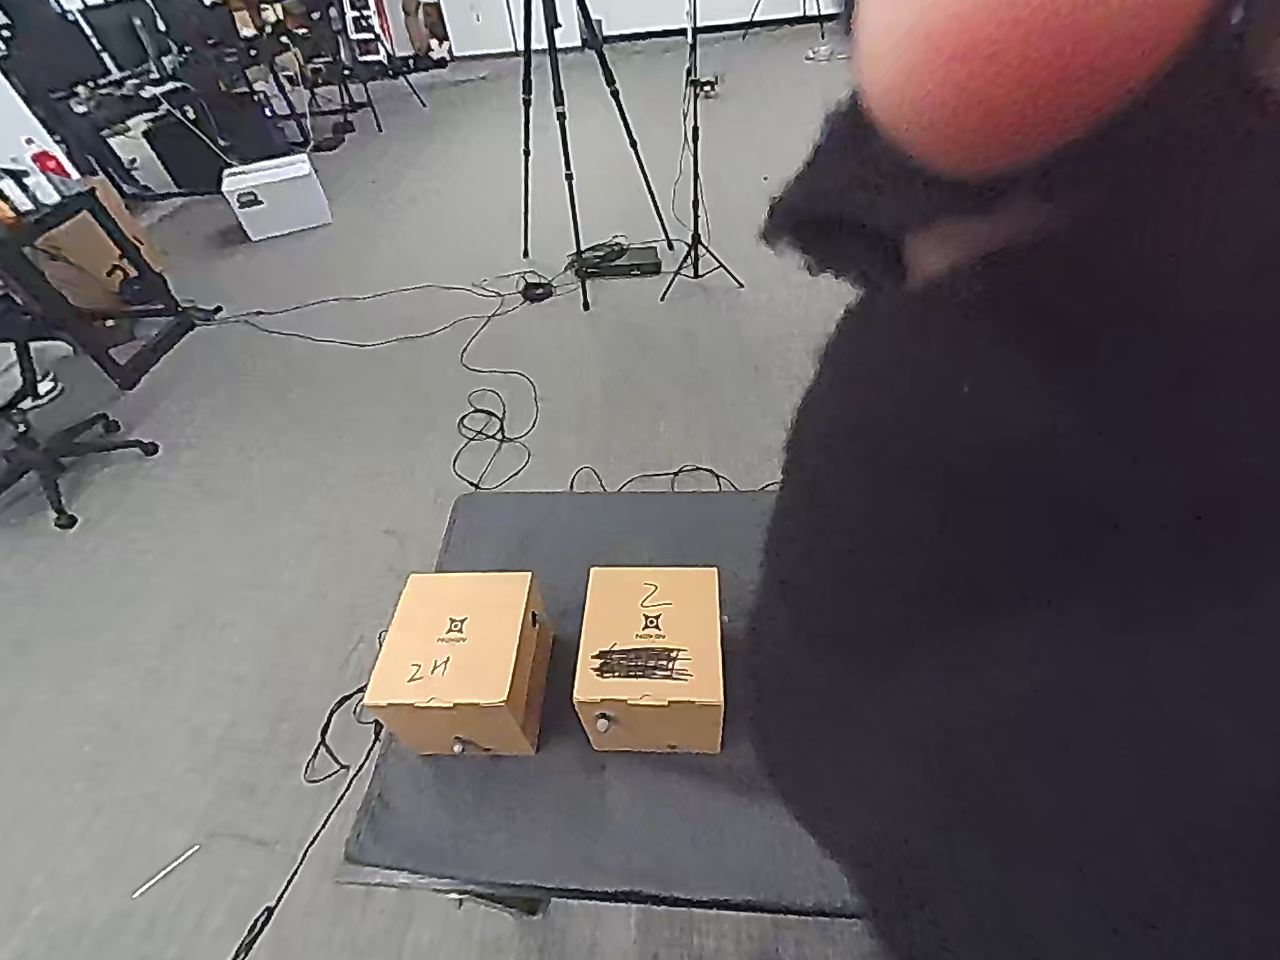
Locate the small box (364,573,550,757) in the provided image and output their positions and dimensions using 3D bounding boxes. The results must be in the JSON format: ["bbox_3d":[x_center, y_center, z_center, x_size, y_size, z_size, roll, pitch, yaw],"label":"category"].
[{"bbox_3d":[-0.219,0.241,0.707,0.168,0.176,0.179,-1,46,3],"label":"small box"}]
